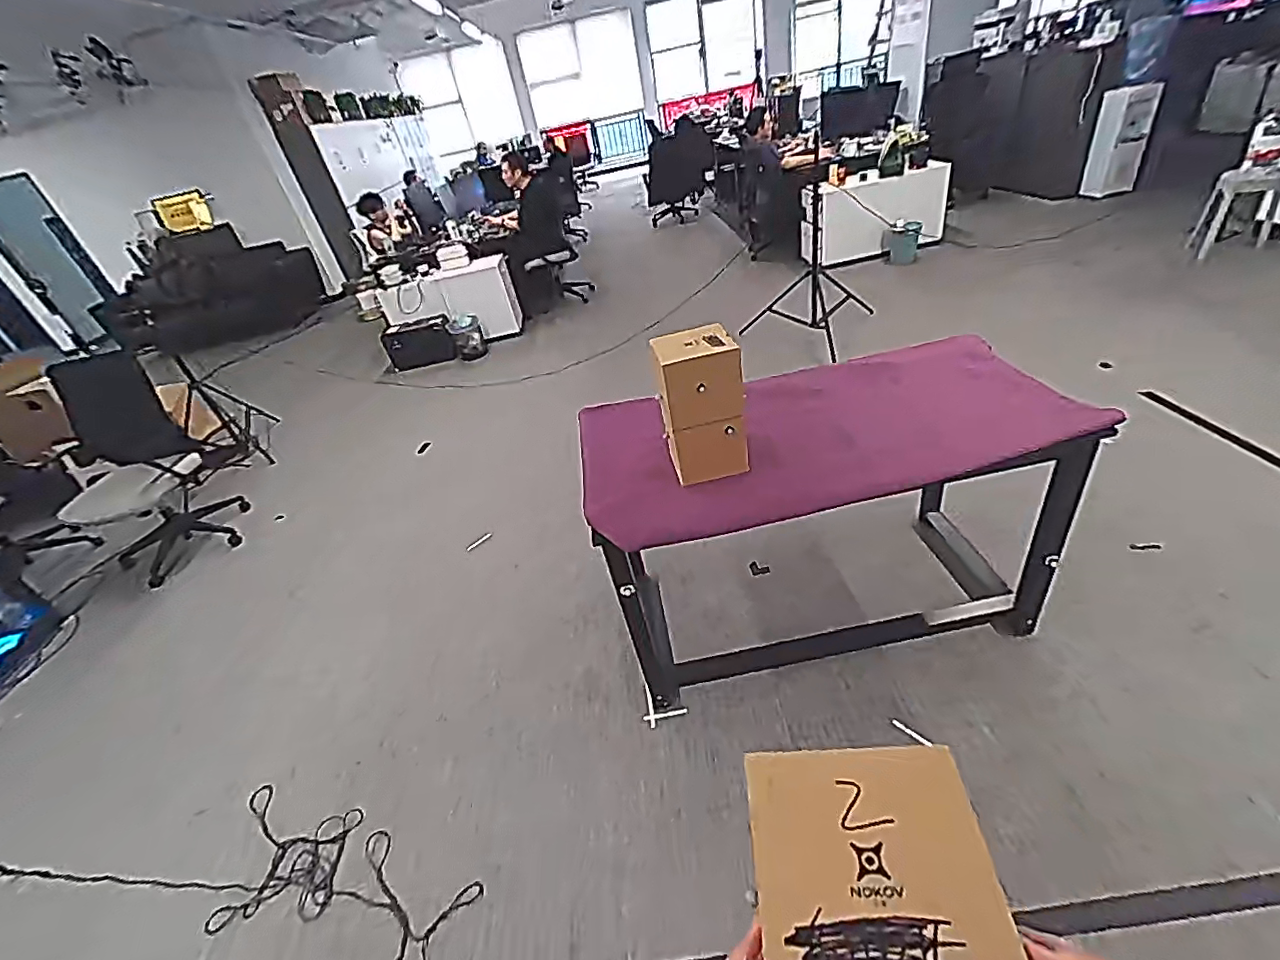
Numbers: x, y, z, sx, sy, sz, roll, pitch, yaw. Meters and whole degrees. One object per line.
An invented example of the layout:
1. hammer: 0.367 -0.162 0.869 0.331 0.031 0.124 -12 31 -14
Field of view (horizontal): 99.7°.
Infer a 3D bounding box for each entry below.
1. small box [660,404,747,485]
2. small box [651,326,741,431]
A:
1. small box: 0.160 -0.108 1.365 0.179 0.176 0.168 -13 35 -1
2. small box: 0.133 -0.237 1.267 0.179 0.176 0.168 -14 35 -1
